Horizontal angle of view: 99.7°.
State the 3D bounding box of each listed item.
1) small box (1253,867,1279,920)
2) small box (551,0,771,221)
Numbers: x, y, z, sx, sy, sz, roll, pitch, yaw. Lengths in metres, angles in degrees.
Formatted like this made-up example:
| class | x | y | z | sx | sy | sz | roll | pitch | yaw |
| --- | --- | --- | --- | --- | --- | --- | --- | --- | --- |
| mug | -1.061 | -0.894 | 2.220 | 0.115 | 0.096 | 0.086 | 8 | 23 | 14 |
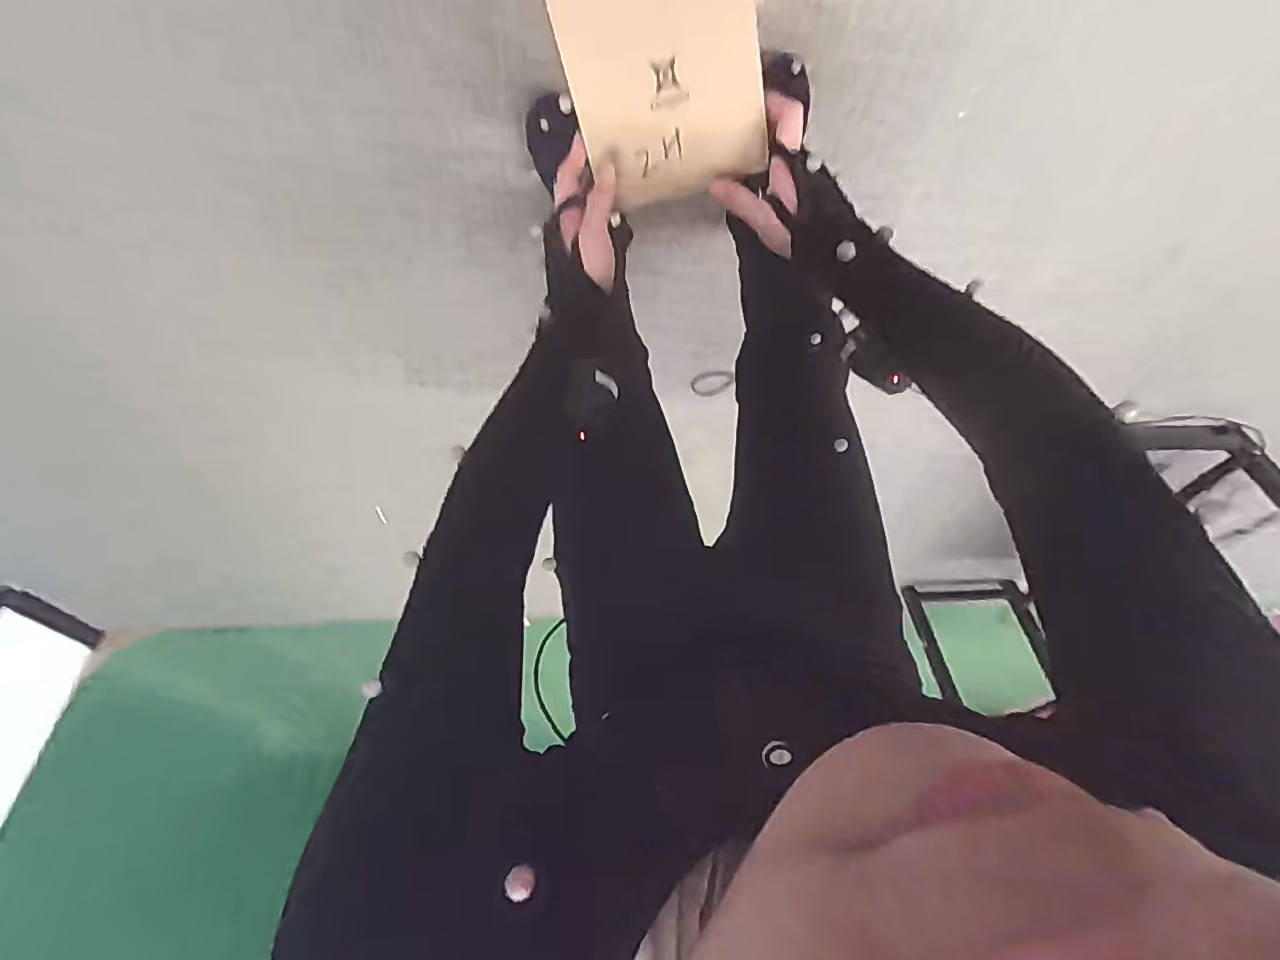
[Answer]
| class | x | y | z | sx | sy | sz | roll | pitch | yaw |
| --- | --- | --- | --- | --- | --- | --- | --- | --- | --- |
| small box | 1.805 | 1.107 | 1.411 | 0.179 | 0.176 | 0.168 | 2 | 143 | -4 |
| small box | 0.021 | -0.381 | 0.532 | 0.168 | 0.176 | 0.179 | -12 | 126 | 7 |
